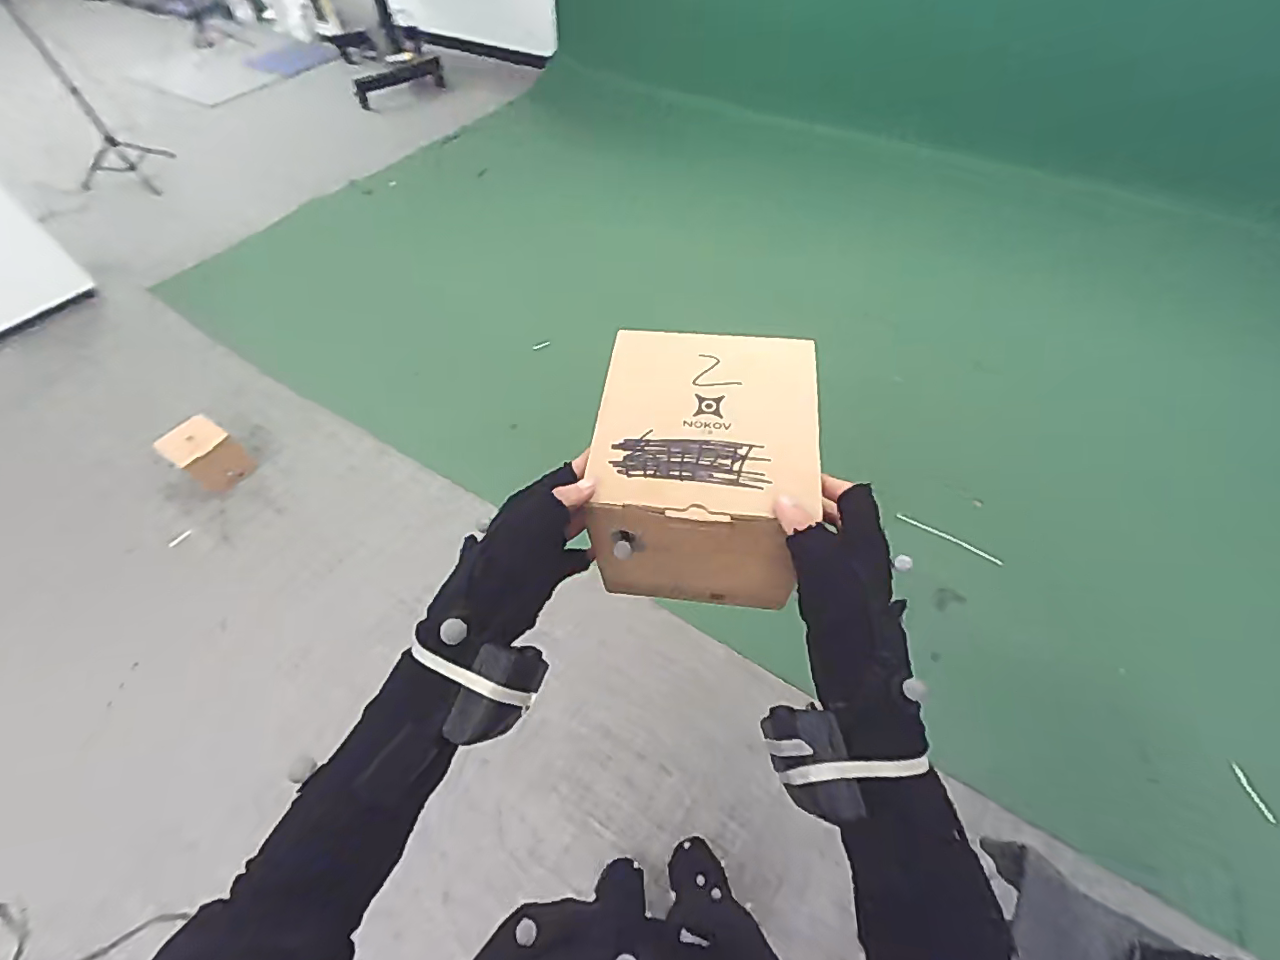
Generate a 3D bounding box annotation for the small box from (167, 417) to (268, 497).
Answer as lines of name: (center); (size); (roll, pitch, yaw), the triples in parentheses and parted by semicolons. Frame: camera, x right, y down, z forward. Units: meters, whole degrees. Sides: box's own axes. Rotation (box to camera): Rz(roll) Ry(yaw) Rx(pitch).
small box: (-1.402, -0.072, 1.804); (0.179, 0.176, 0.168); (29, 60, 20)
